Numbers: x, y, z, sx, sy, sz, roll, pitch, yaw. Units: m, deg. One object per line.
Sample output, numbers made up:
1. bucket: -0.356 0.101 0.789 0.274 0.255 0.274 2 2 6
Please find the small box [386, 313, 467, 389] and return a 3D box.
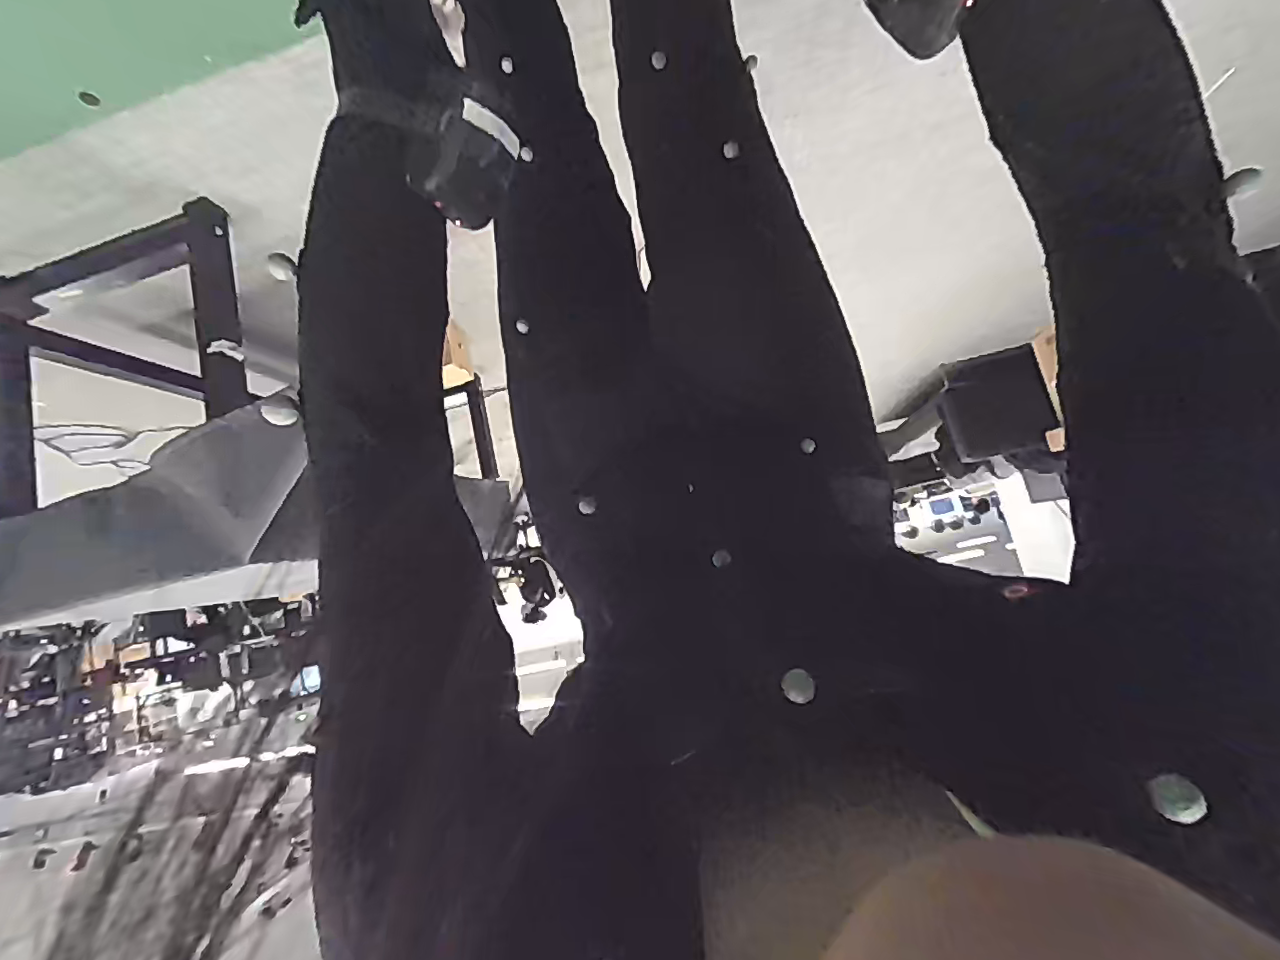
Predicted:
1. small box: -0.675 -0.409 1.713 0.179 0.176 0.168 -14 172 3
